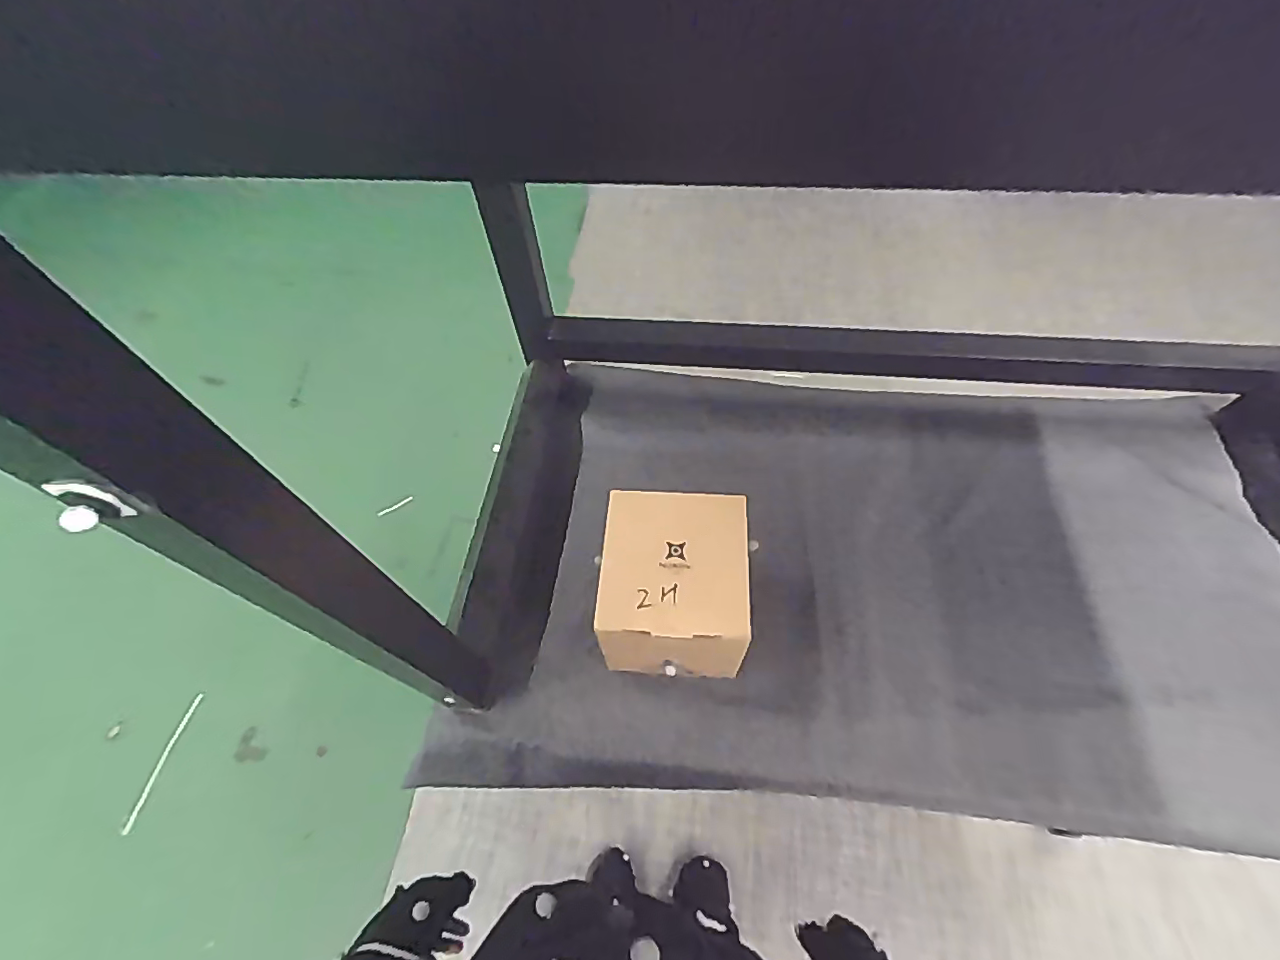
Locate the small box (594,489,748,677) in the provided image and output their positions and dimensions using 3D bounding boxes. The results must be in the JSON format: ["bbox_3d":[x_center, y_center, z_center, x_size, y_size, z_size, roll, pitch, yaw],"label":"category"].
[{"bbox_3d":[0.042,0.131,0.678,0.168,0.176,0.179,3,57,5],"label":"small box"}]
